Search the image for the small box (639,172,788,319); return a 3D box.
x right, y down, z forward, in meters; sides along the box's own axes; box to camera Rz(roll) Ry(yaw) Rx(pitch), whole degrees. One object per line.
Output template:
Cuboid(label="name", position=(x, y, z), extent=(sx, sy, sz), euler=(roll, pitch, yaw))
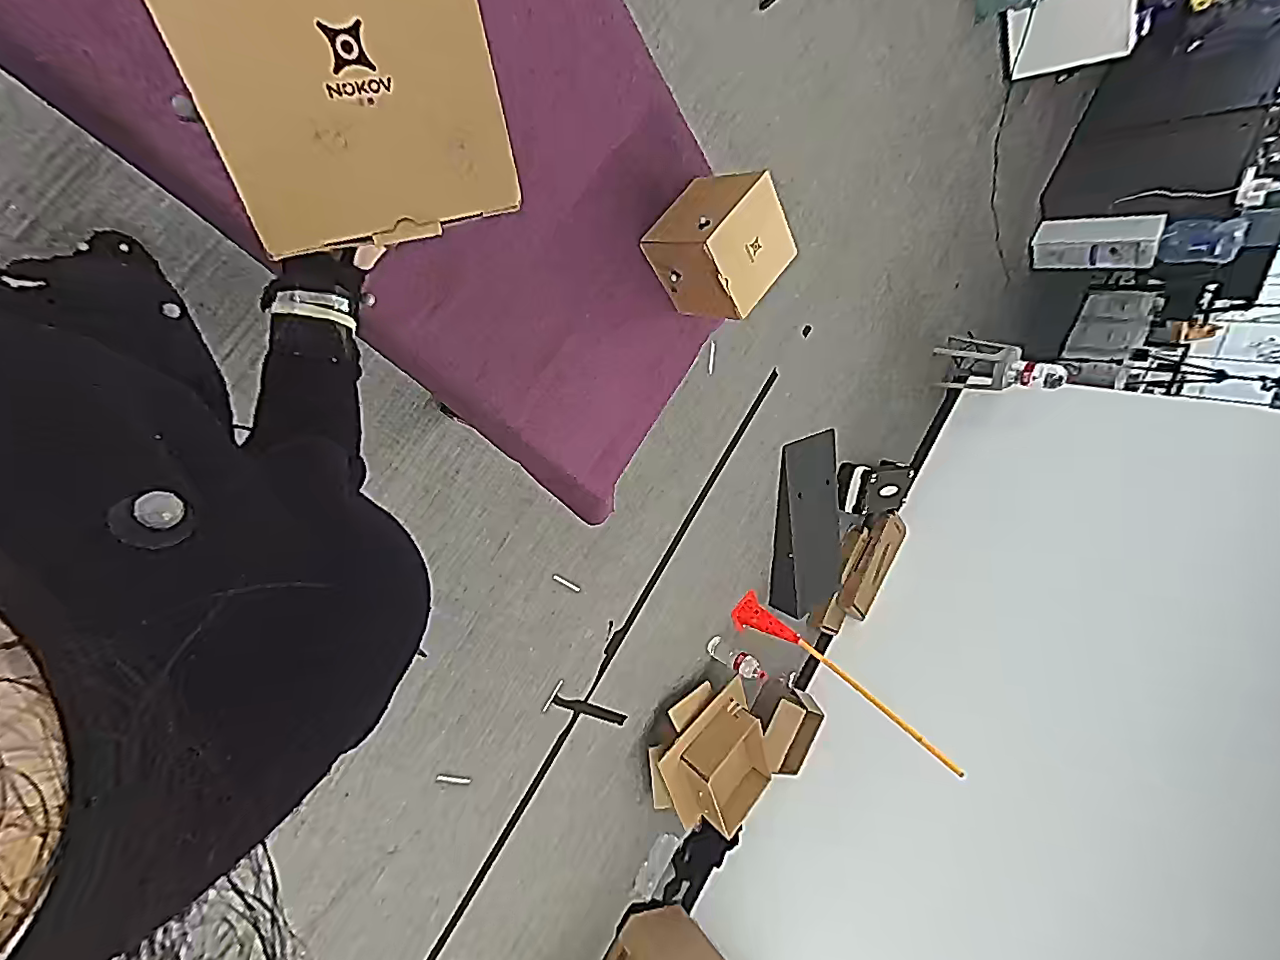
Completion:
Cuboid(label="small box", position=(0.130, -0.419, 0.971), extent=(0.179, 0.176, 0.168), euler=(-52, 134, -10))

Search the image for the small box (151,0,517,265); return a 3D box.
Cuboid(label="small box", position=(-0.208, -0.268, 0.376), extent=(0.168, 0.176, 0.179), euler=(-25, 127, -23))
